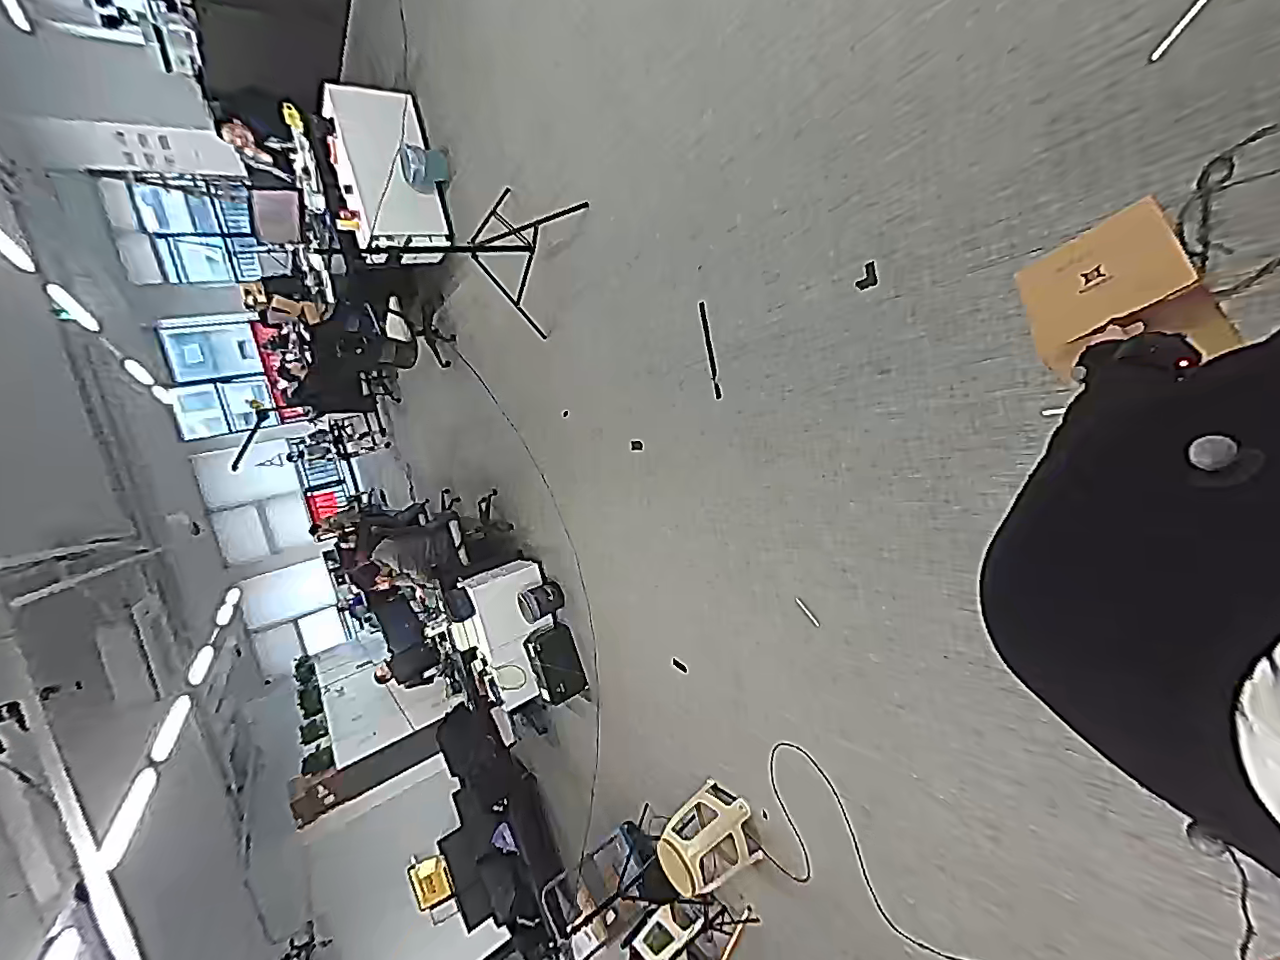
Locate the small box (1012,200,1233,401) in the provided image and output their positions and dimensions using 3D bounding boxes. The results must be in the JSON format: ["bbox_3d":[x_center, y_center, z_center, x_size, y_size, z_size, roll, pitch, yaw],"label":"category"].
[{"bbox_3d":[0.661,-0.232,0.750,0.168,0.176,0.179,-30,40,47],"label":"small box"}]
